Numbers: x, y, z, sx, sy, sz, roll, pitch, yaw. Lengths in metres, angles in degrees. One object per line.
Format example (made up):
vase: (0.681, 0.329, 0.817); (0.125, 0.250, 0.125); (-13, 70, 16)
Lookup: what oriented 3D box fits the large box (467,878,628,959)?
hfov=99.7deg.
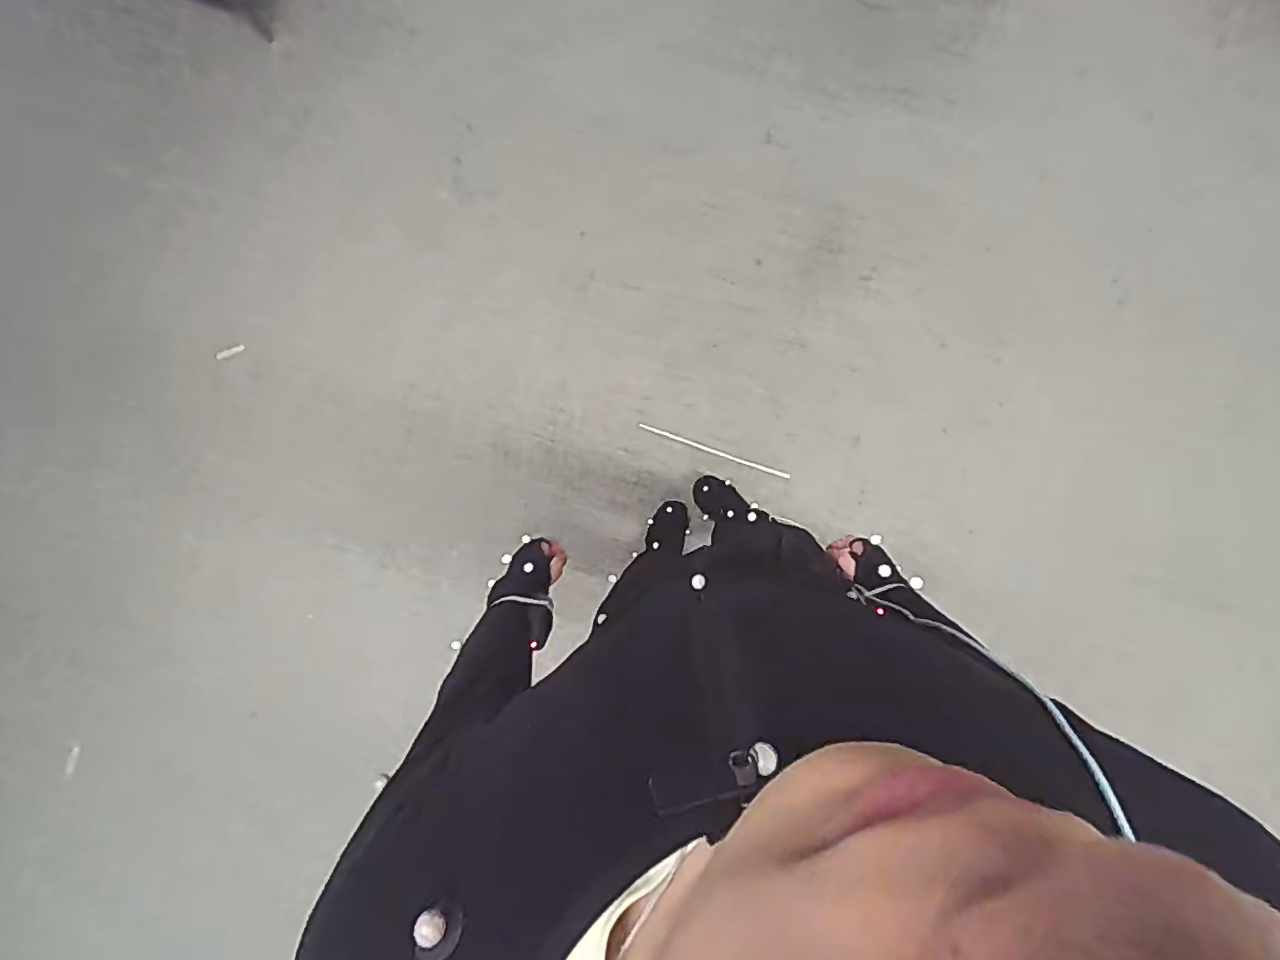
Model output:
large box: (-0.266, 1.402, 1.501); (0.408, 0.320, 0.320); (12, 89, 4)
